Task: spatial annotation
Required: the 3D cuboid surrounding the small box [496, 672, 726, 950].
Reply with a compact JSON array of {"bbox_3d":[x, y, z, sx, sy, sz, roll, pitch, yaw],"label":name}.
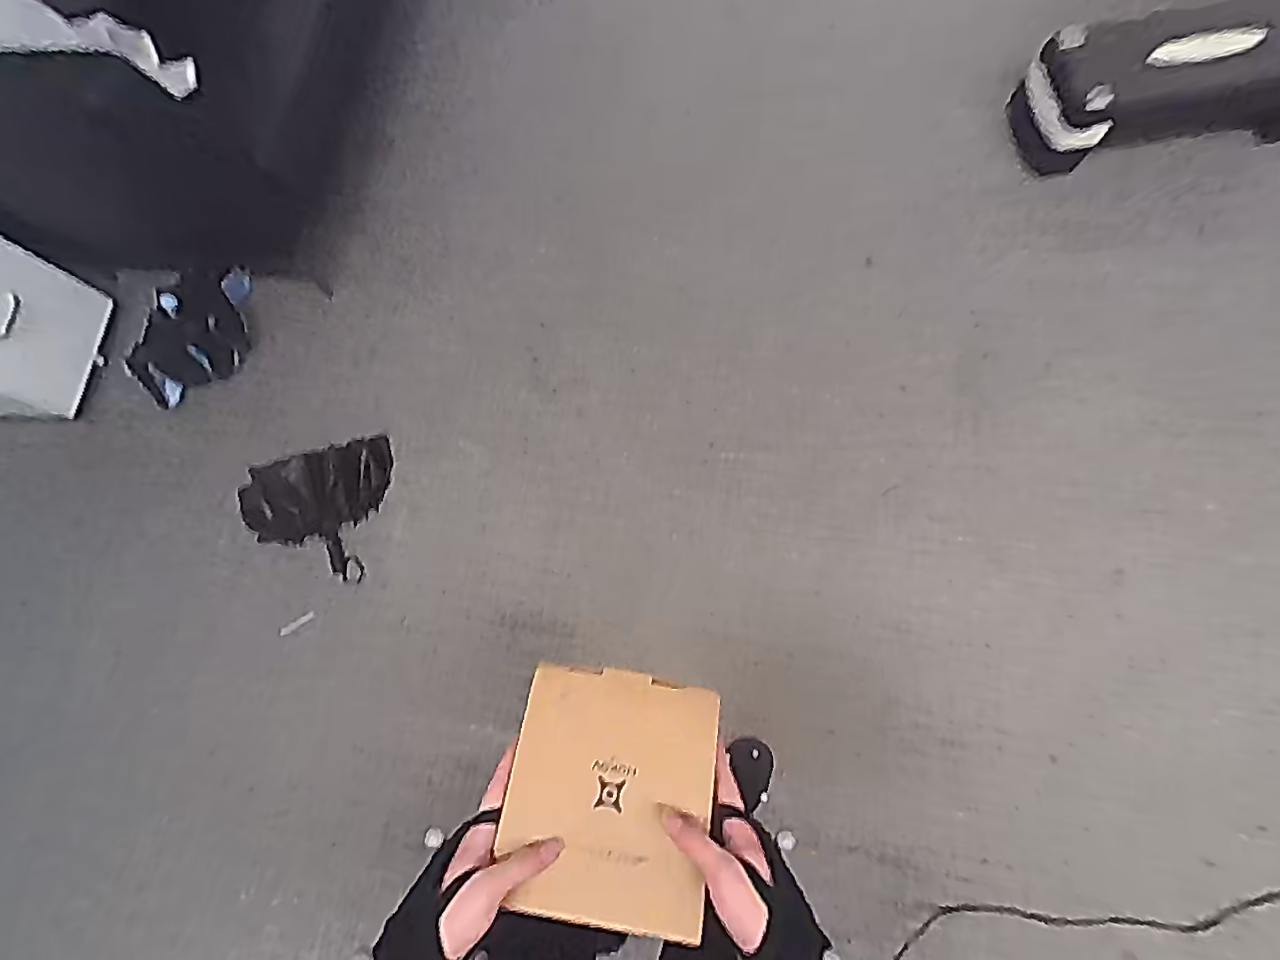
[{"bbox_3d":[-0.016,0.293,0.506,0.168,0.176,0.179,6,62,5],"label":"small box"}]
